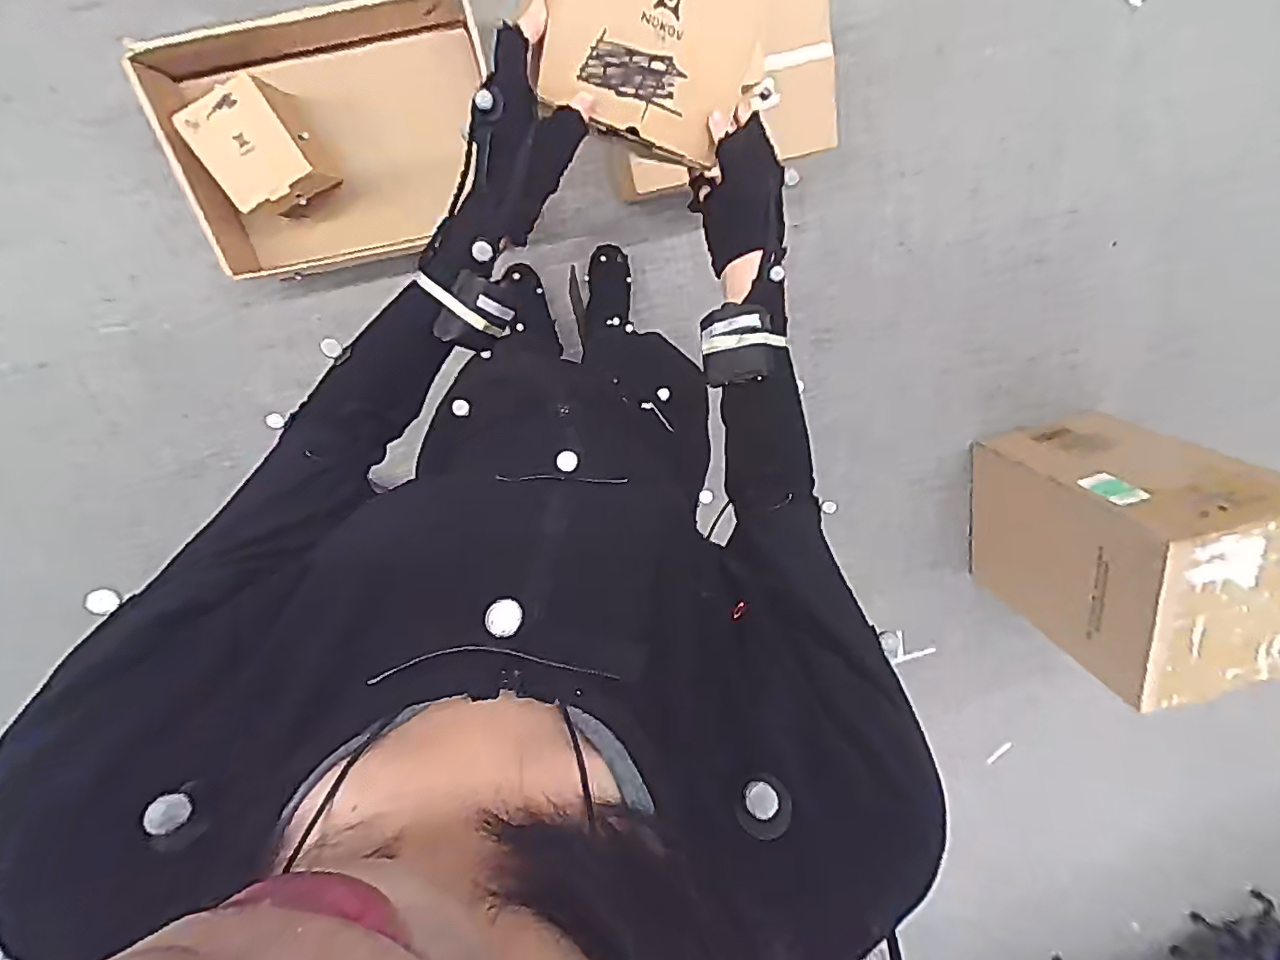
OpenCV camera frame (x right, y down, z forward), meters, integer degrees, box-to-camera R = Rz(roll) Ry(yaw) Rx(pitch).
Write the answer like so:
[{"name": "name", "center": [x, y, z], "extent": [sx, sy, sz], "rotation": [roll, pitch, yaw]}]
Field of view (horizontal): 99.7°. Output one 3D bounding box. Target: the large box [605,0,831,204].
[{"name": "large box", "center": [0.123, -0.793, 1.113], "extent": [0.408, 0.320, 0.320], "rotation": [-15, 116, -3]}]

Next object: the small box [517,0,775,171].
[{"name": "small box", "center": [-0.004, -0.401, 0.478], "extent": [0.168, 0.176, 0.179], "rotation": [7, 117, -27]}]
